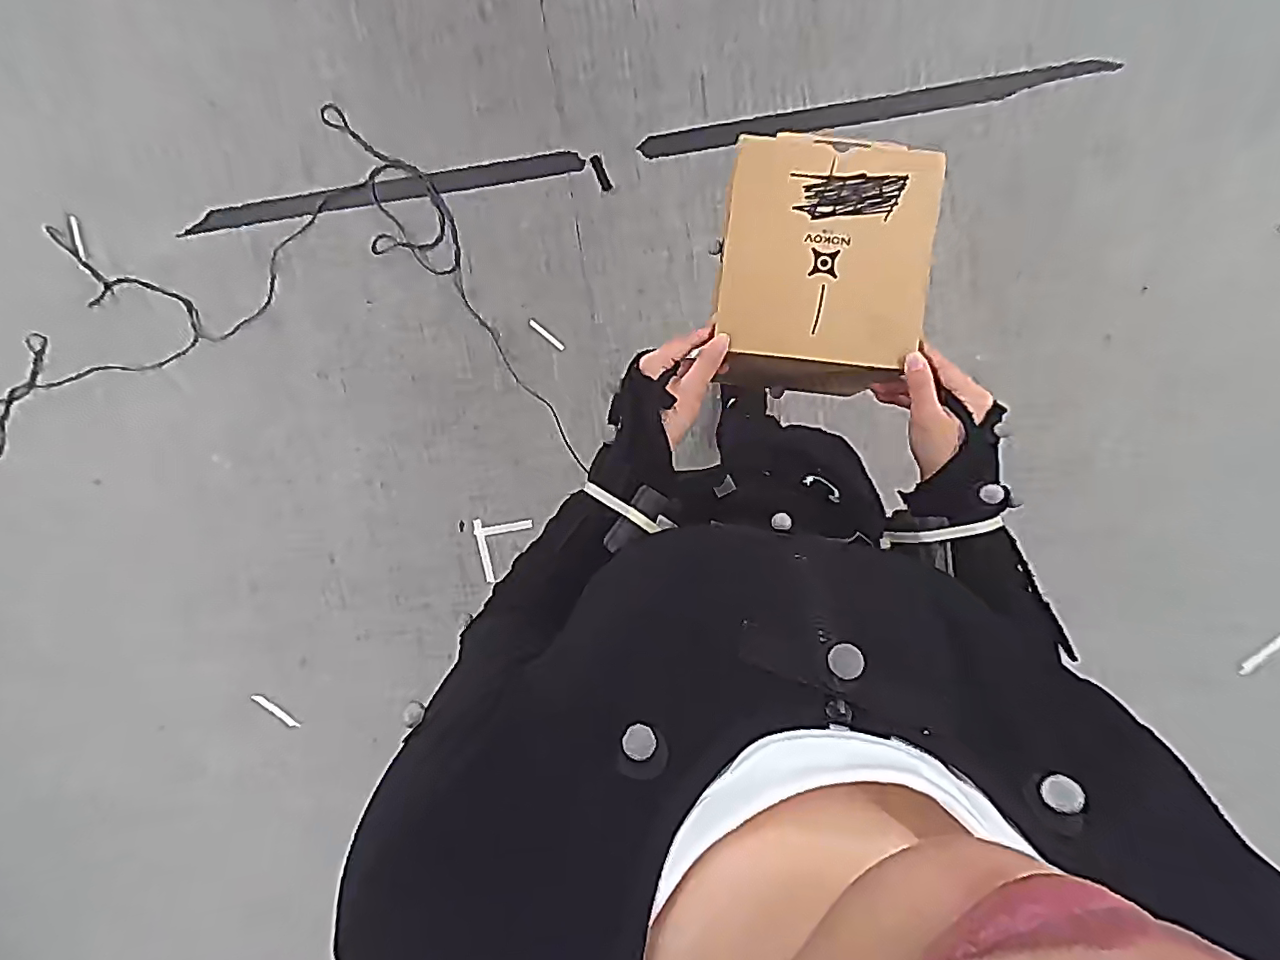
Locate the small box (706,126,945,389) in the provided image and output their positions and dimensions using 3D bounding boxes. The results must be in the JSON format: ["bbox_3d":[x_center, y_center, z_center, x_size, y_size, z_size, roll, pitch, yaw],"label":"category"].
[{"bbox_3d":[0.157,-0.193,0.516,0.168,0.176,0.179,7,93,4],"label":"small box"}]
